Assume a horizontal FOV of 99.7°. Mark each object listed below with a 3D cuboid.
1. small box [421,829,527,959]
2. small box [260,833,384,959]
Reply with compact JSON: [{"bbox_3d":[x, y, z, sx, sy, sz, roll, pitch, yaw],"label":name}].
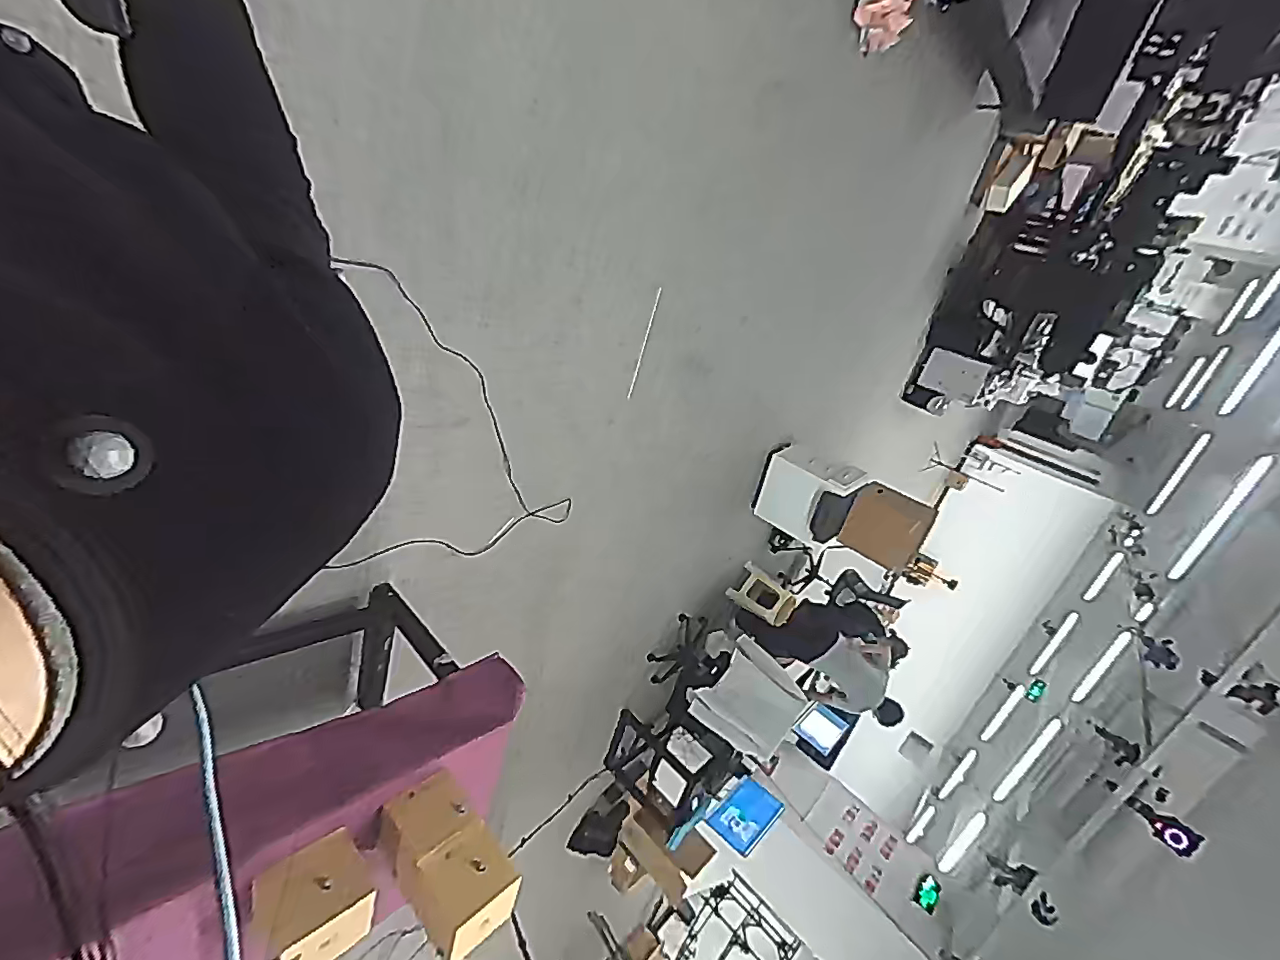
[{"bbox_3d":[-0.385,0.950,1.240,0.168,0.176,0.179,-13,129,-46],"label":"small box"},{"bbox_3d":[-0.667,0.896,1.134,0.179,0.176,0.168,-10,125,-48],"label":"small box"}]
